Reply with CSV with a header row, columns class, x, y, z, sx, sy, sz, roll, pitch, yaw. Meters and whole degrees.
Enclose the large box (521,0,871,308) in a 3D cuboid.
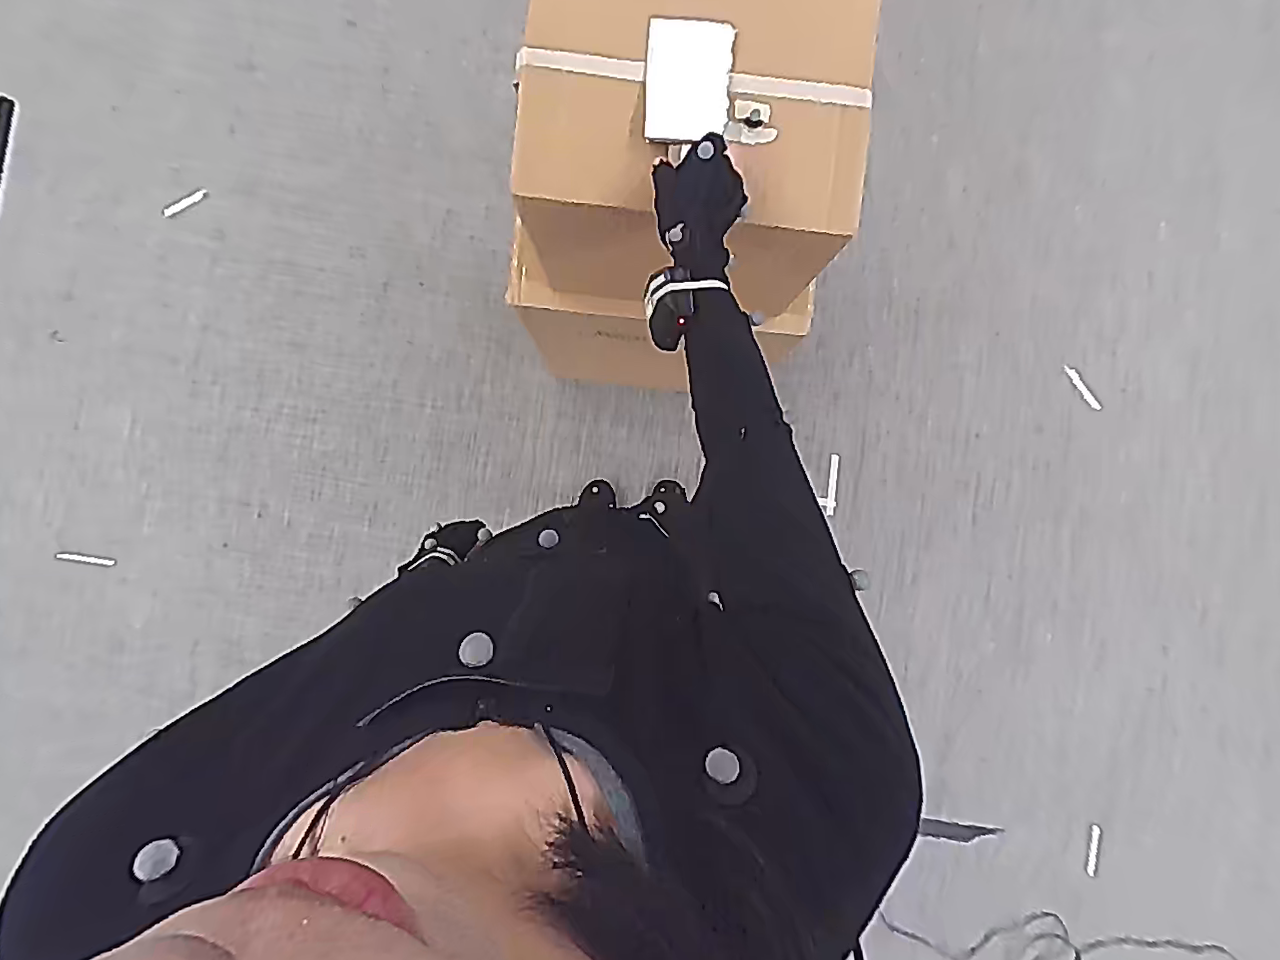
class,x,y,z,sx,sy,sz,roll,pitch,yaw
large box,0.062,-0.466,0.787,0.408,0.320,0.320,6,90,-3
